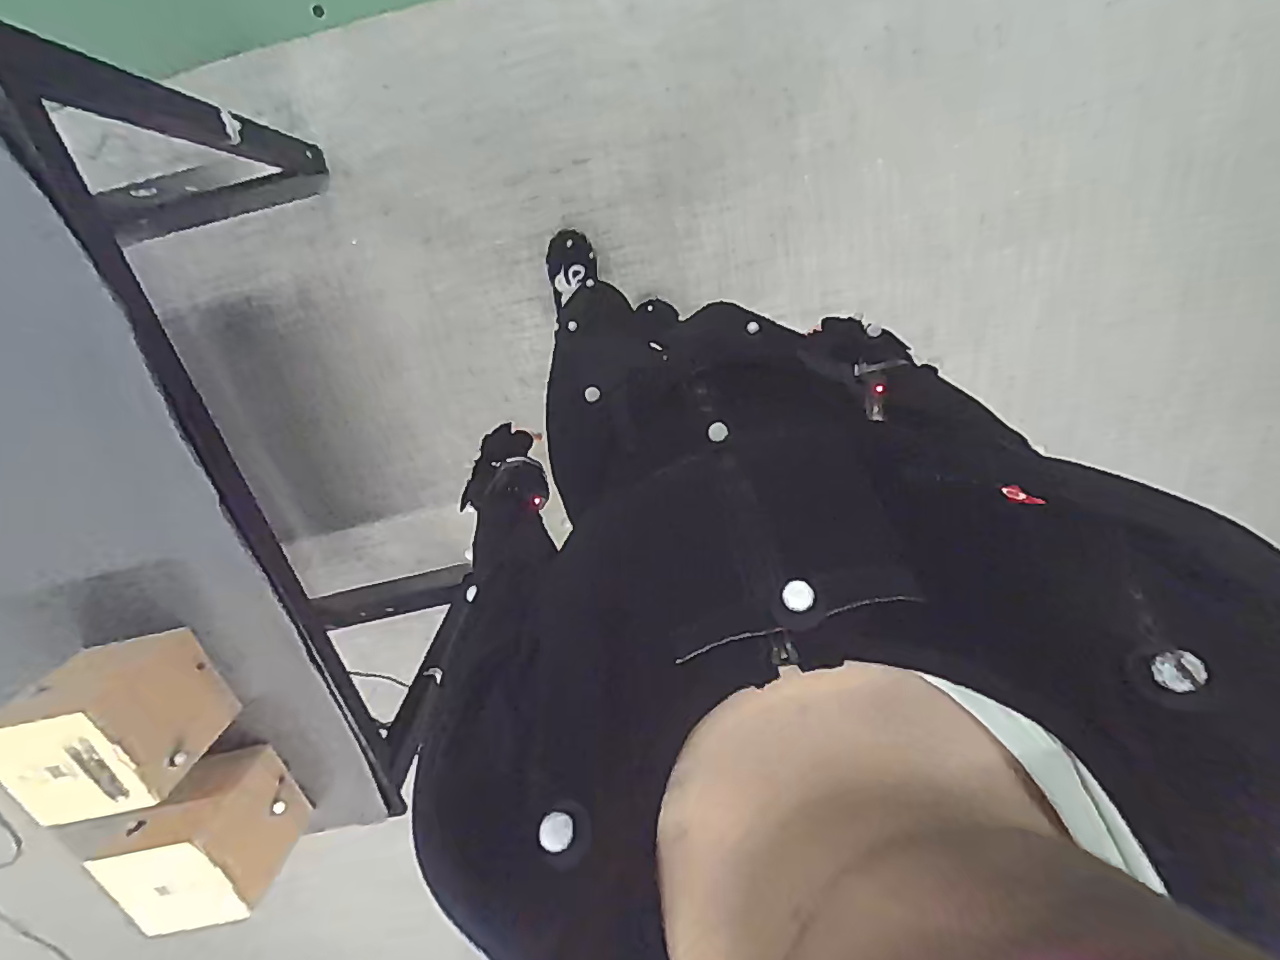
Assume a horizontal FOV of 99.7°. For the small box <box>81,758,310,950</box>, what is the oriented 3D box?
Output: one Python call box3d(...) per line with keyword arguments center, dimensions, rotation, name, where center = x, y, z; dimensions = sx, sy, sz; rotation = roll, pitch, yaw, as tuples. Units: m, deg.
box3d(center=(-0.662, 0.565, 0.831), dimensions=(0.179, 0.176, 0.168), rotation=(-14, 109, 5), name="small box")
